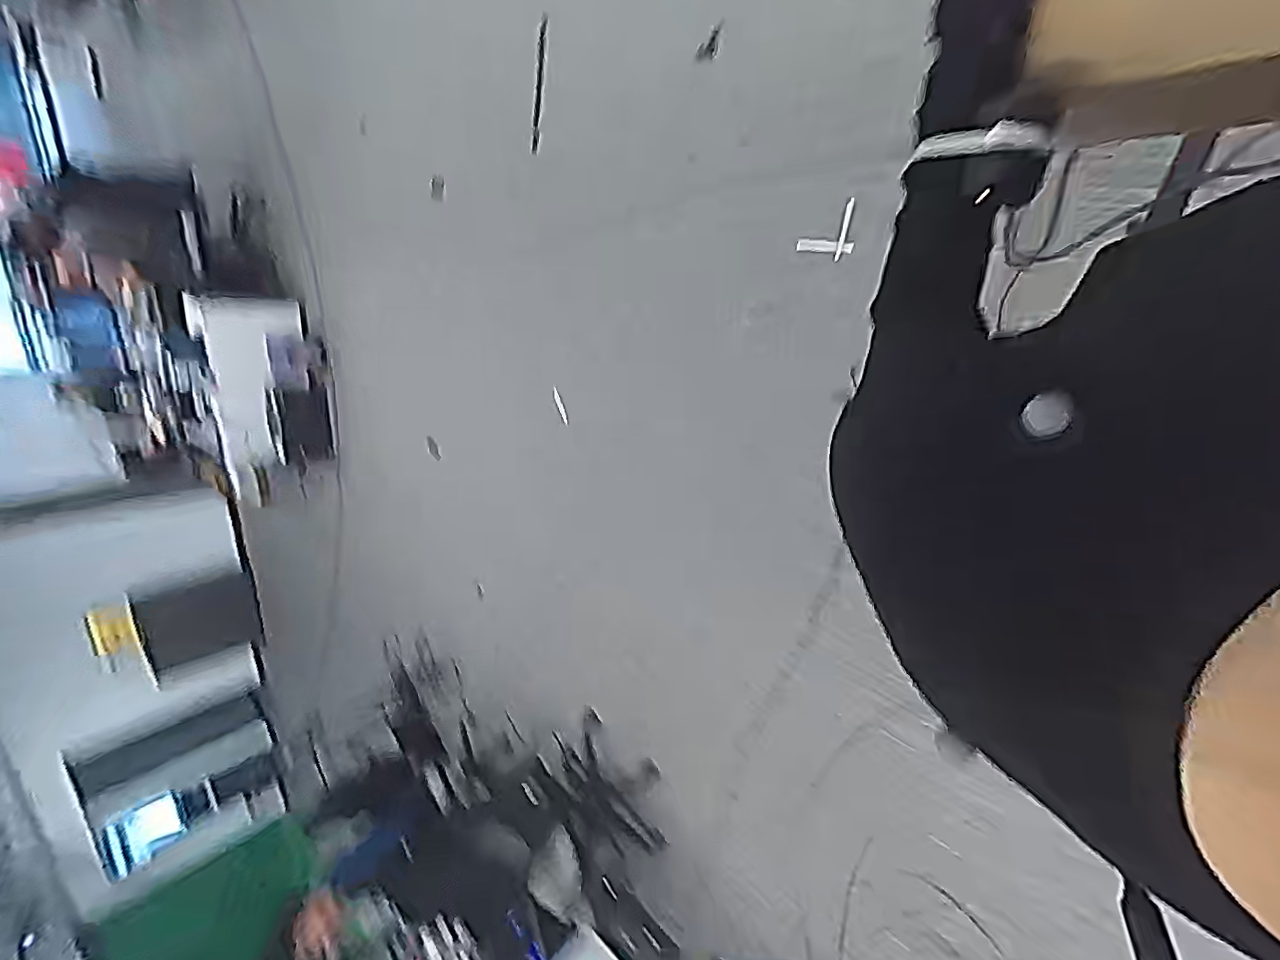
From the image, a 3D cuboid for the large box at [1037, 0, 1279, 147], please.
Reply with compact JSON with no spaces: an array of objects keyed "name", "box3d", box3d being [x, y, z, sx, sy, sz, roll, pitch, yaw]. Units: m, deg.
[{"name":"large box","box3d":[0.522,-0.427,0.324,0.408,0.320,0.320,15,118,36]}]
